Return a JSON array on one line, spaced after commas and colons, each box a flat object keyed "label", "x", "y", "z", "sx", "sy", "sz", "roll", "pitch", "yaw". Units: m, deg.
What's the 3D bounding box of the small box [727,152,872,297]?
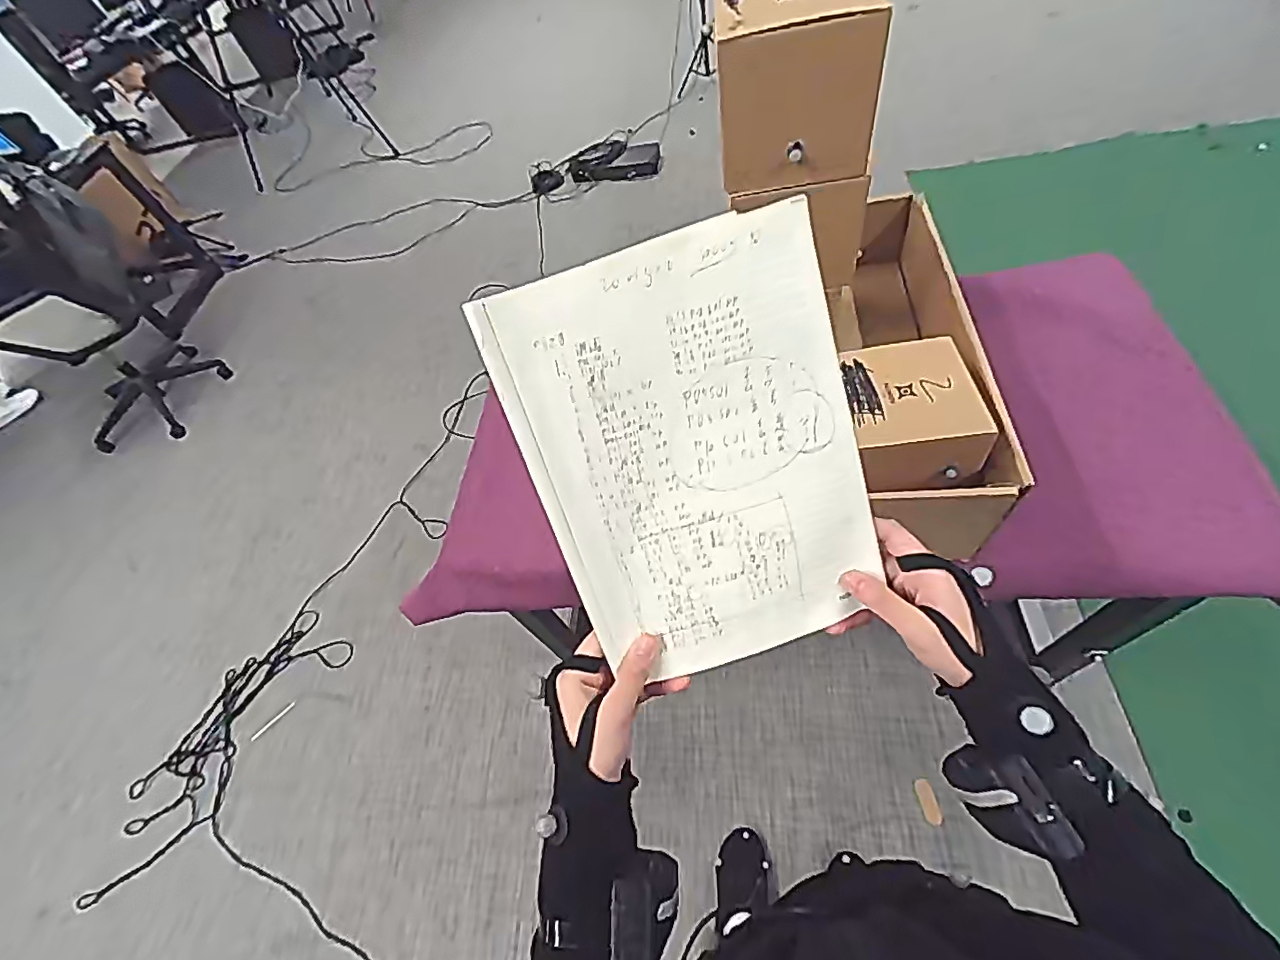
[{"label": "small box", "x": 0.218, "y": -0.393, "z": 0.787, "sx": 0.179, "sy": 0.176, "sz": 0.168, "roll": -5, "pitch": 56, "yaw": 10}]

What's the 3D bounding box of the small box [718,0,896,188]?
[{"label": "small box", "x": 0.185, "y": -0.484, "z": 0.654, "sx": 0.179, "sy": 0.176, "sz": 0.168, "roll": -2, "pitch": 57, "yaw": 10}]
